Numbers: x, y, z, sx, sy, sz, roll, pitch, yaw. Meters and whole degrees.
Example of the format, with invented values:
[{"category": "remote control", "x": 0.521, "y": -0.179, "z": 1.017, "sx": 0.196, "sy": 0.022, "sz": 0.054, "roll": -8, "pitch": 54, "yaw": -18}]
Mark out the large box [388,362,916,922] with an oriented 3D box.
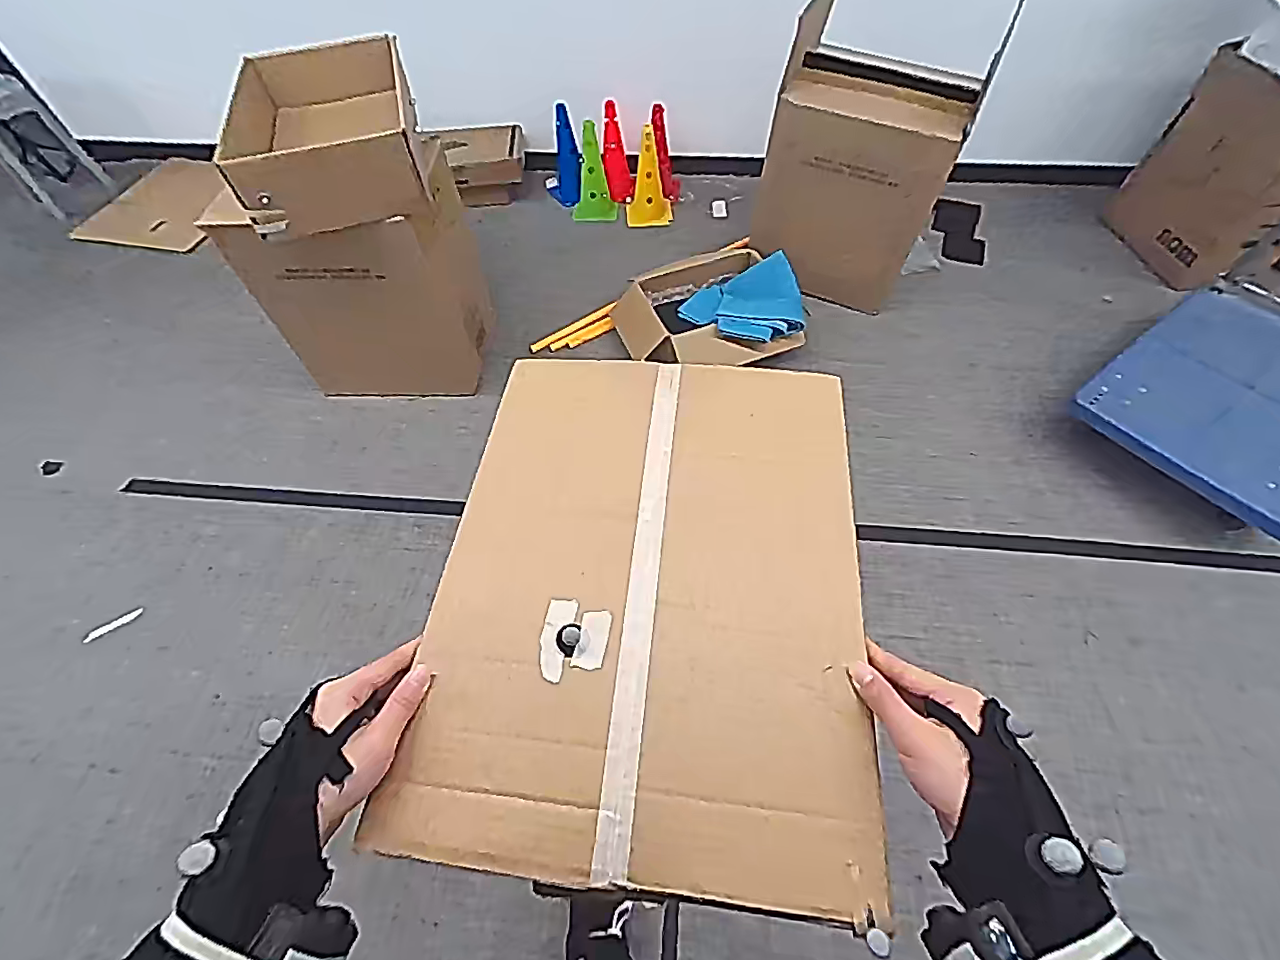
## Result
[{"category": "large box", "x": 0.024, "y": 0.140, "z": 0.535, "sx": 0.320, "sy": 0.320, "sz": 0.408, "roll": 3, "pitch": 58, "yaw": 6}]
